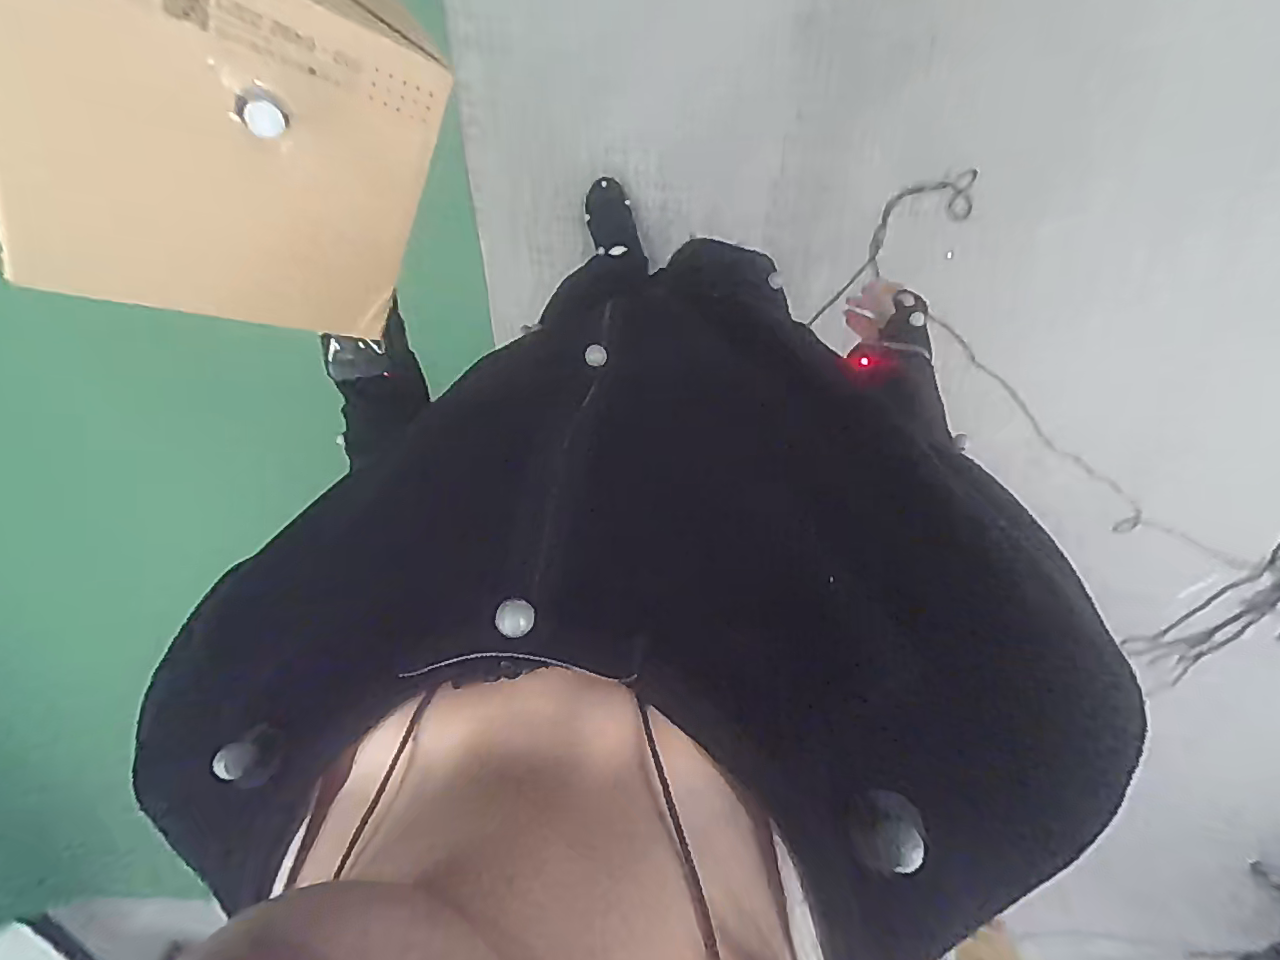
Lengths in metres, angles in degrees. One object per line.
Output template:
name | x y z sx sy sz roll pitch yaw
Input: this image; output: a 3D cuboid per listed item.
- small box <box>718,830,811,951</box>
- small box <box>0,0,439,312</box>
small box | 0.267 0.909 1.203 0.168 0.176 0.179 0 121 1
small box | -0.228 -0.225 0.290 0.168 0.179 0.176 -1 138 -43
